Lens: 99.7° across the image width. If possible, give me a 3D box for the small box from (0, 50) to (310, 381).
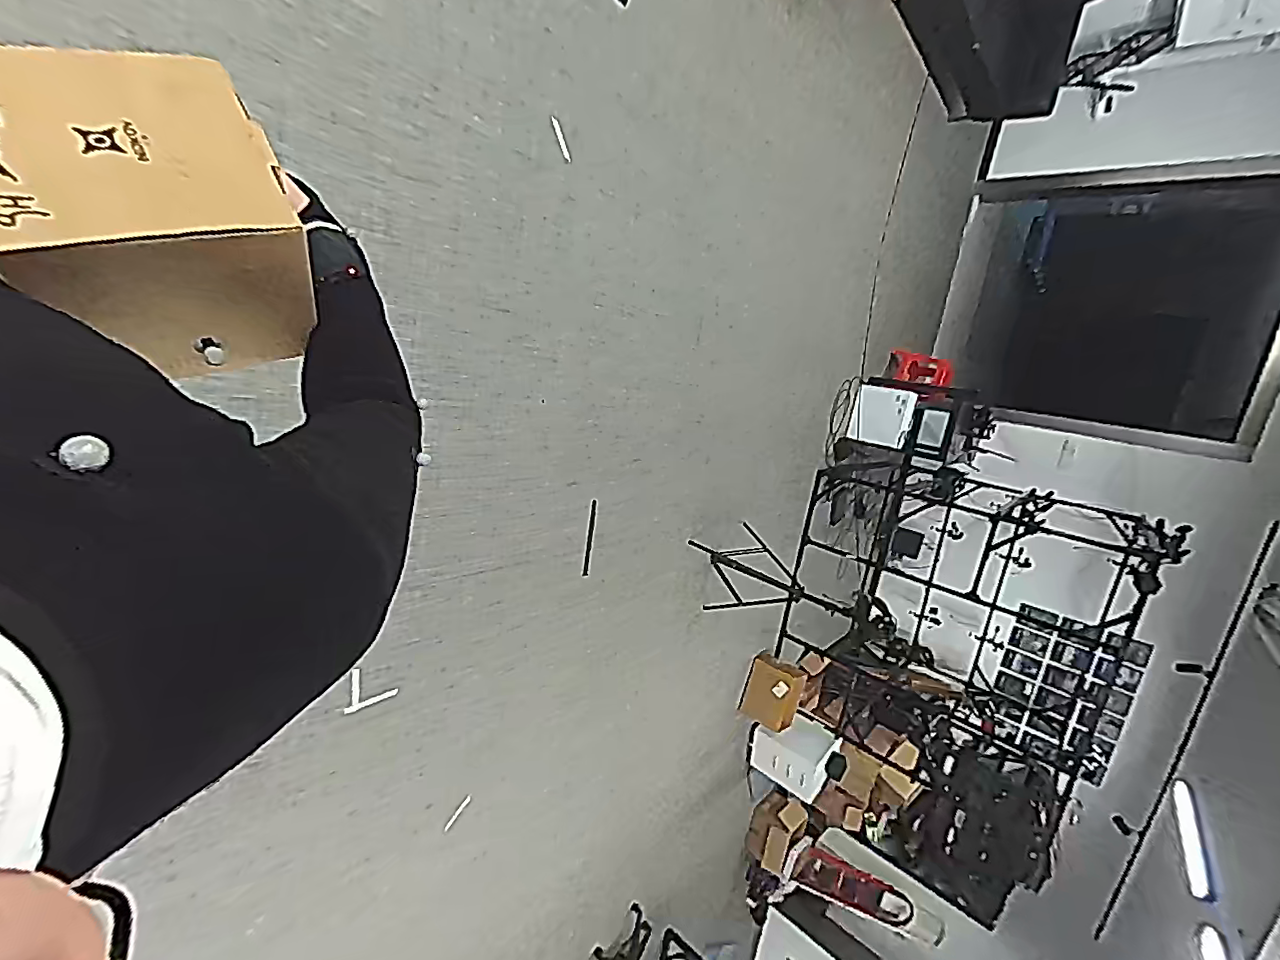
[{"bbox_3d":[-0.397,-0.207,0.451,0.179,0.176,0.168,-23,80,-32],"label":"small box"}]
